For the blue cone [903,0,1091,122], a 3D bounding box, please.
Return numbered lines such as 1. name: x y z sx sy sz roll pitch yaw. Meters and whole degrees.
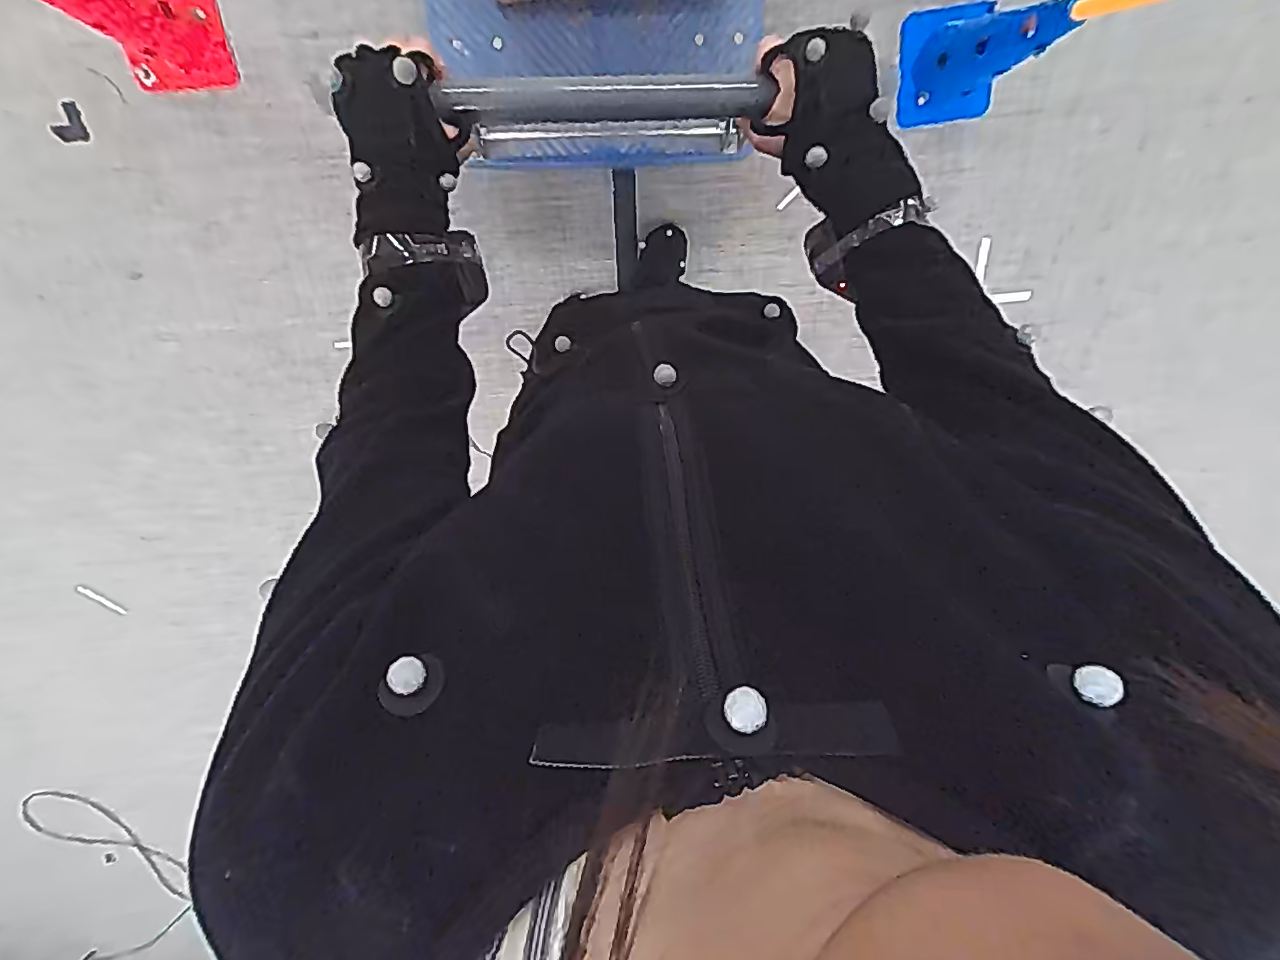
1. blue cone: 0.652 -0.794 0.977 0.193 0.380 0.192 -7 116 0
